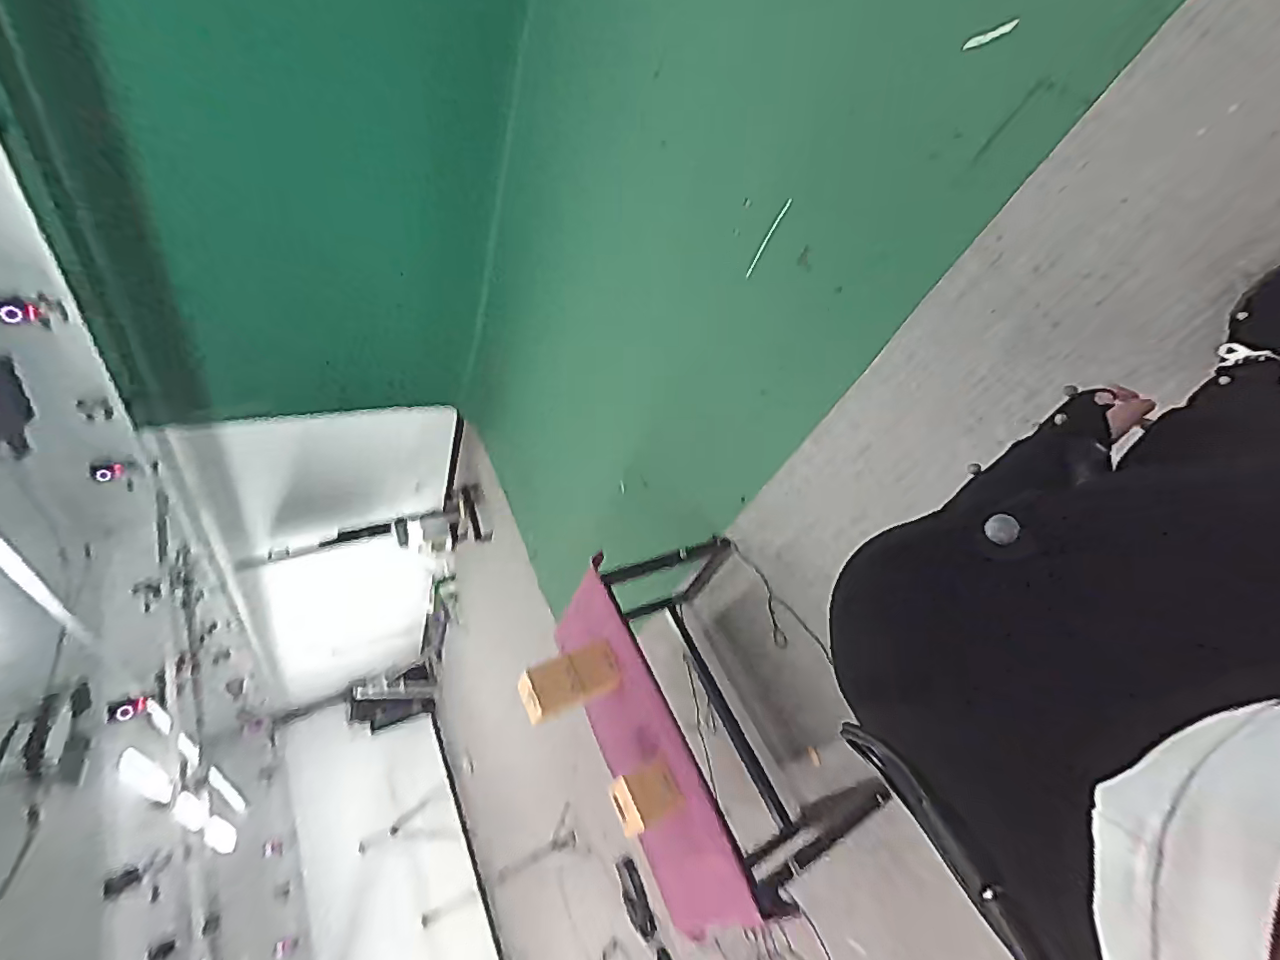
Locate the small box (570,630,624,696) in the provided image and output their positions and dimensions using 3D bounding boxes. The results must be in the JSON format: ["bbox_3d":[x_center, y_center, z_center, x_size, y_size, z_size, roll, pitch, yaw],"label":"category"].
[{"bbox_3d":[-0.181,0.706,2.080,0.168,0.176,0.179,60,144,24],"label":"small box"}]

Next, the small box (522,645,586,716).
[{"bbox_3d":[-0.315,0.734,1.990,0.168,0.176,0.179,60,145,25],"label":"small box"}]
